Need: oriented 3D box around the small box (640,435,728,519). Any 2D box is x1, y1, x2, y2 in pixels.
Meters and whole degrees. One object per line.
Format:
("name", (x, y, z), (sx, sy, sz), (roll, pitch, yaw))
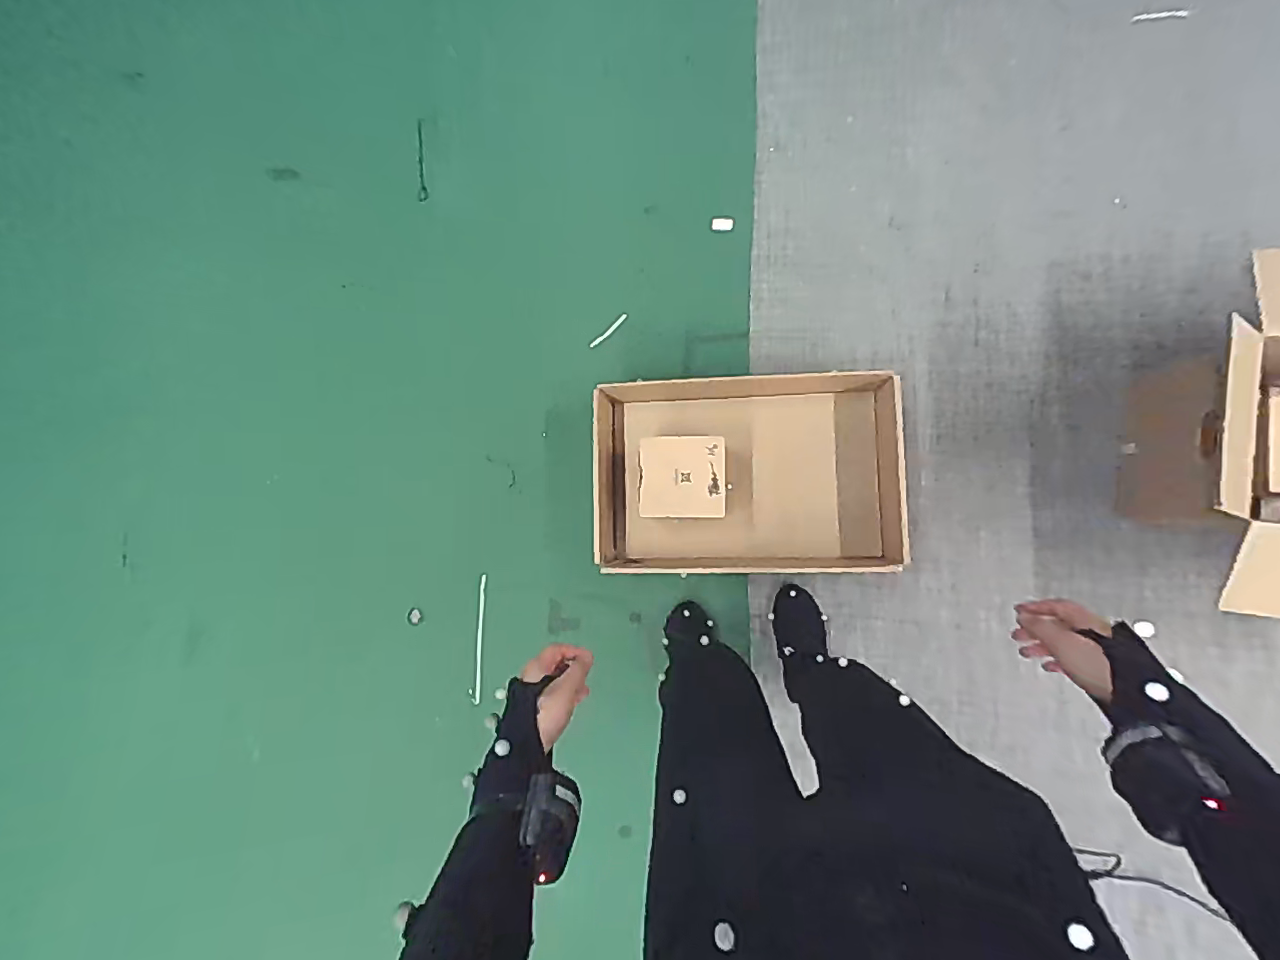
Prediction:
("small box", (0.099, -0.001, 1.163), (0.179, 0.176, 0.168), (-1, 85, 8))
